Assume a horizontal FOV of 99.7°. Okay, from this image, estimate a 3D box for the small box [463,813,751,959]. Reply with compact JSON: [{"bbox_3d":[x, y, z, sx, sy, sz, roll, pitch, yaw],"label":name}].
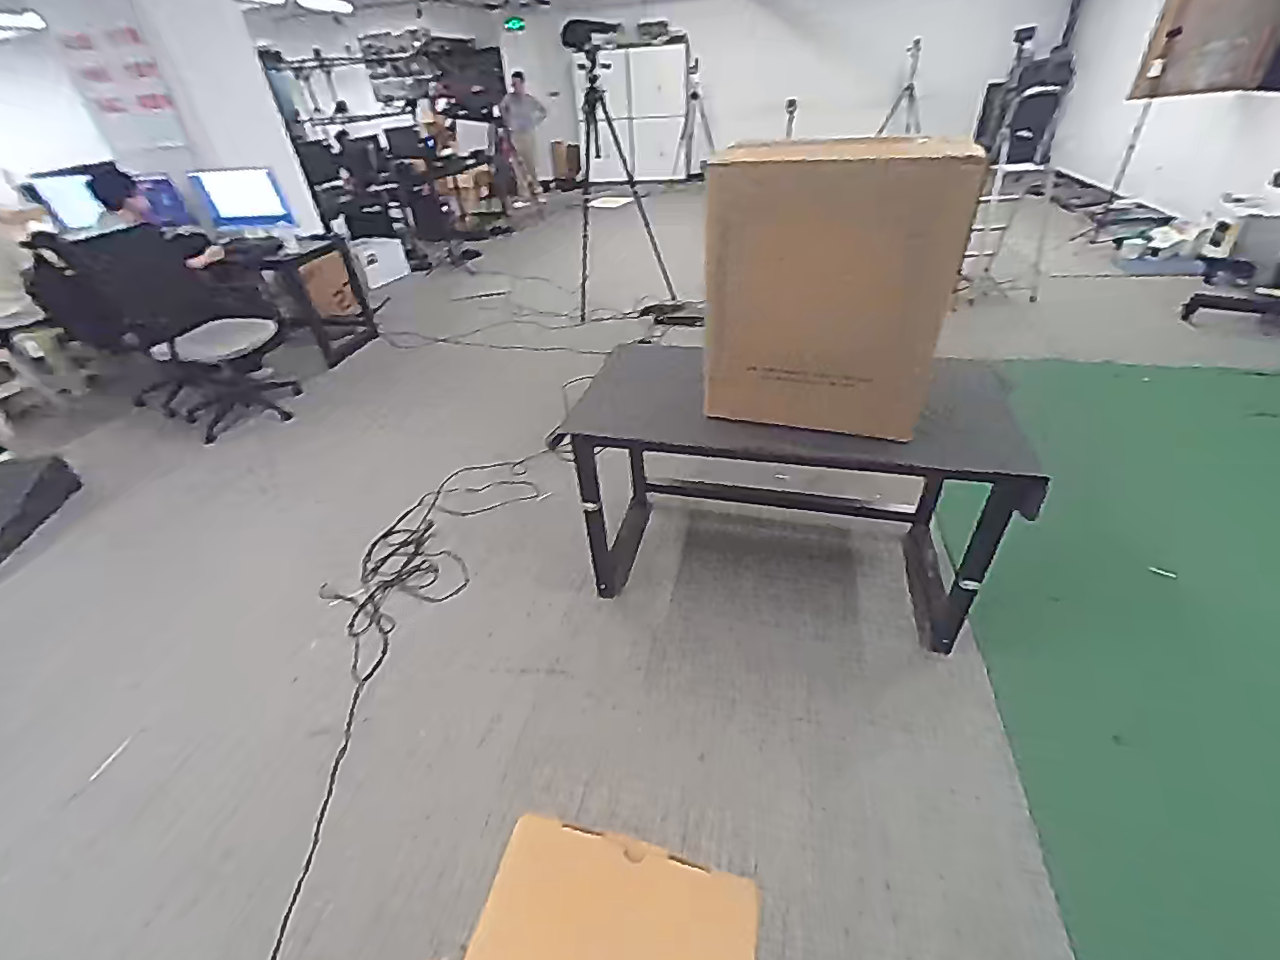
[{"bbox_3d":[-0.030,0.363,0.350,0.168,0.176,0.179,11,38,9],"label":"small box"}]
